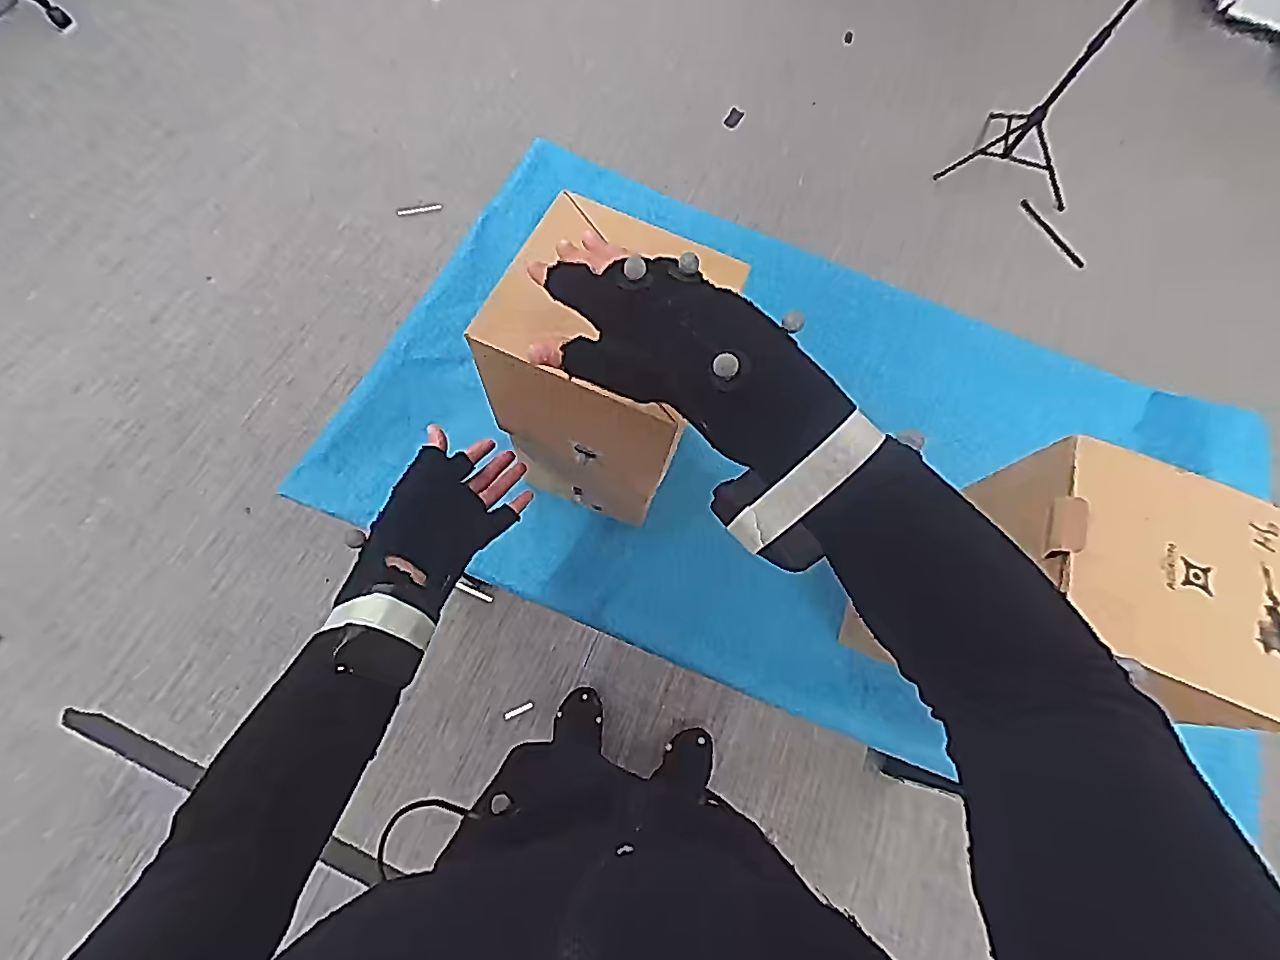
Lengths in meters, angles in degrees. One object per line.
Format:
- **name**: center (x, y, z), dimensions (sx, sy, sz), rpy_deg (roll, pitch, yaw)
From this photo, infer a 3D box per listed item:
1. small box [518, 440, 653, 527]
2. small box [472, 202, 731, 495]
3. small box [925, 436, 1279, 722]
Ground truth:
- **small box**: center (-0.039, -0.067, 0.659), dimensions (0.168, 0.176, 0.179), rpy_deg (25, 72, 6)
- **small box**: center (-0.028, -0.112, 0.498), dimensions (0.179, 0.176, 0.168), rpy_deg (24, 70, 4)
- **small box**: center (0.376, 0.092, 0.461), dimensions (0.179, 0.176, 0.168), rpy_deg (19, 69, 2)
